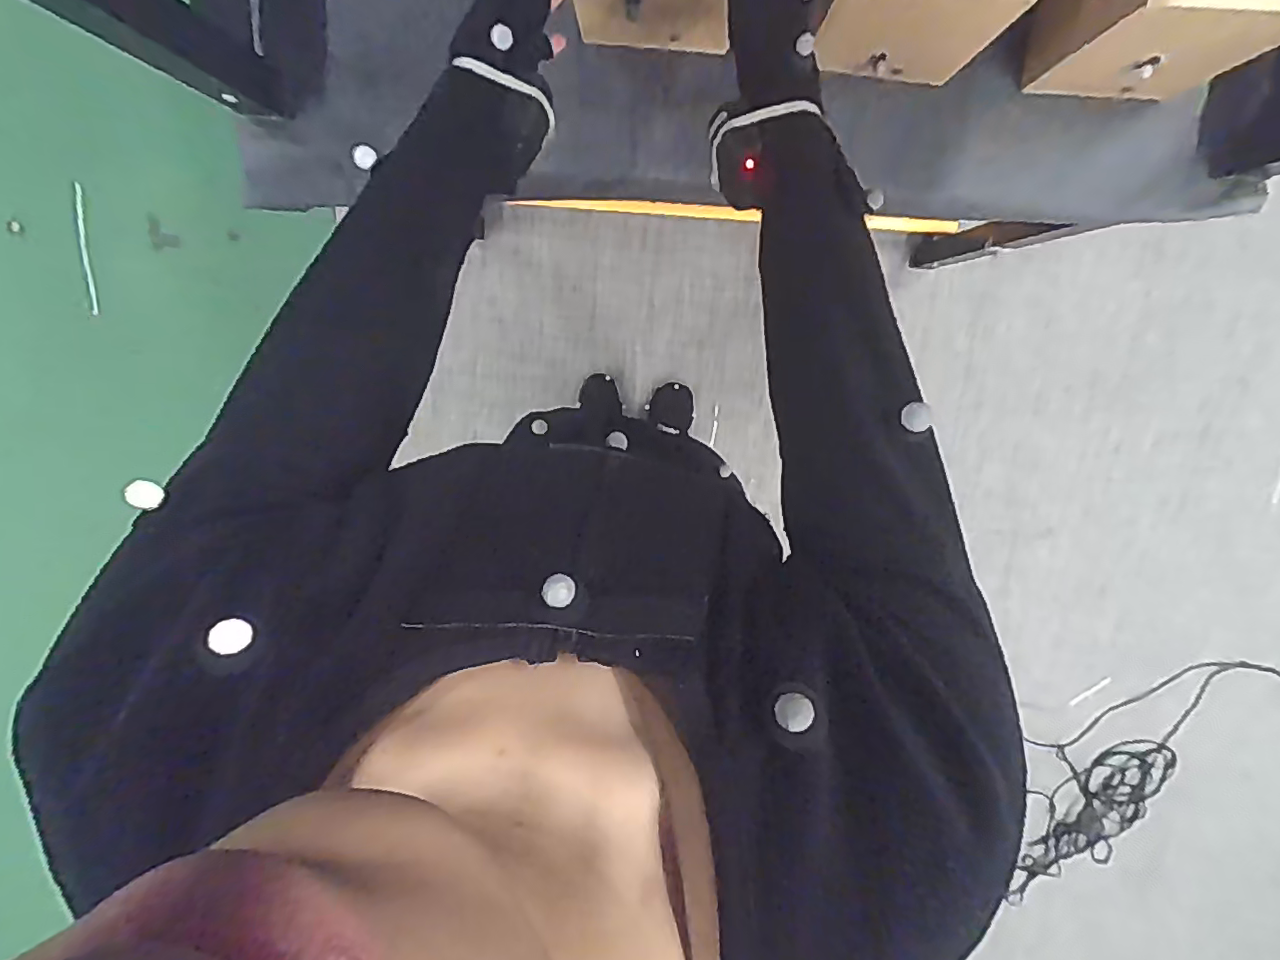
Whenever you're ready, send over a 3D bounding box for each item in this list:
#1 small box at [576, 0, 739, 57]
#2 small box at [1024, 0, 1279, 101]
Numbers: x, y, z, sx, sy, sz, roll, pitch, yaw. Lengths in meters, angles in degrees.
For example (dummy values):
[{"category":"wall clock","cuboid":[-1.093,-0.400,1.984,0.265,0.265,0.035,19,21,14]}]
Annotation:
[{"category":"small box","cuboid":[0.023,-0.549,0.521,0.168,0.176,0.179,5,104,0]},{"category":"small box","cuboid":[0.513,-0.496,0.518,0.168,0.176,0.179,4,104,1]}]
